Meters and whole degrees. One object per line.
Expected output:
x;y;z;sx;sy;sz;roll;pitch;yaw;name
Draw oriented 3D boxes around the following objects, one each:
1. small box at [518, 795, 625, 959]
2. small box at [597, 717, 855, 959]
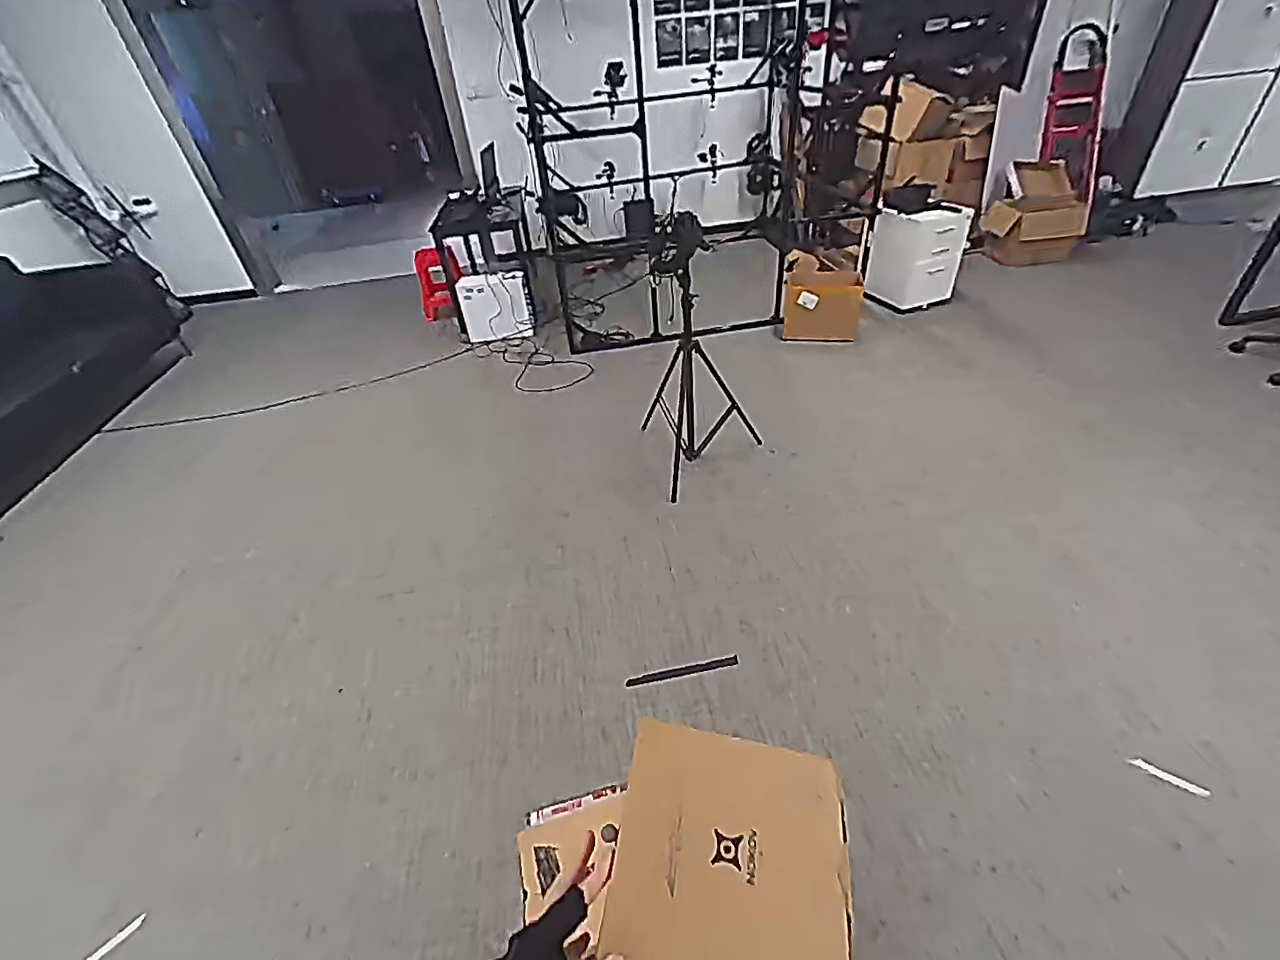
-0.069;0.612;0.800;0.179;0.176;0.168;-15;37;-9;small box
0.066;0.332;0.465;0.179;0.176;0.168;9;47;5;small box
